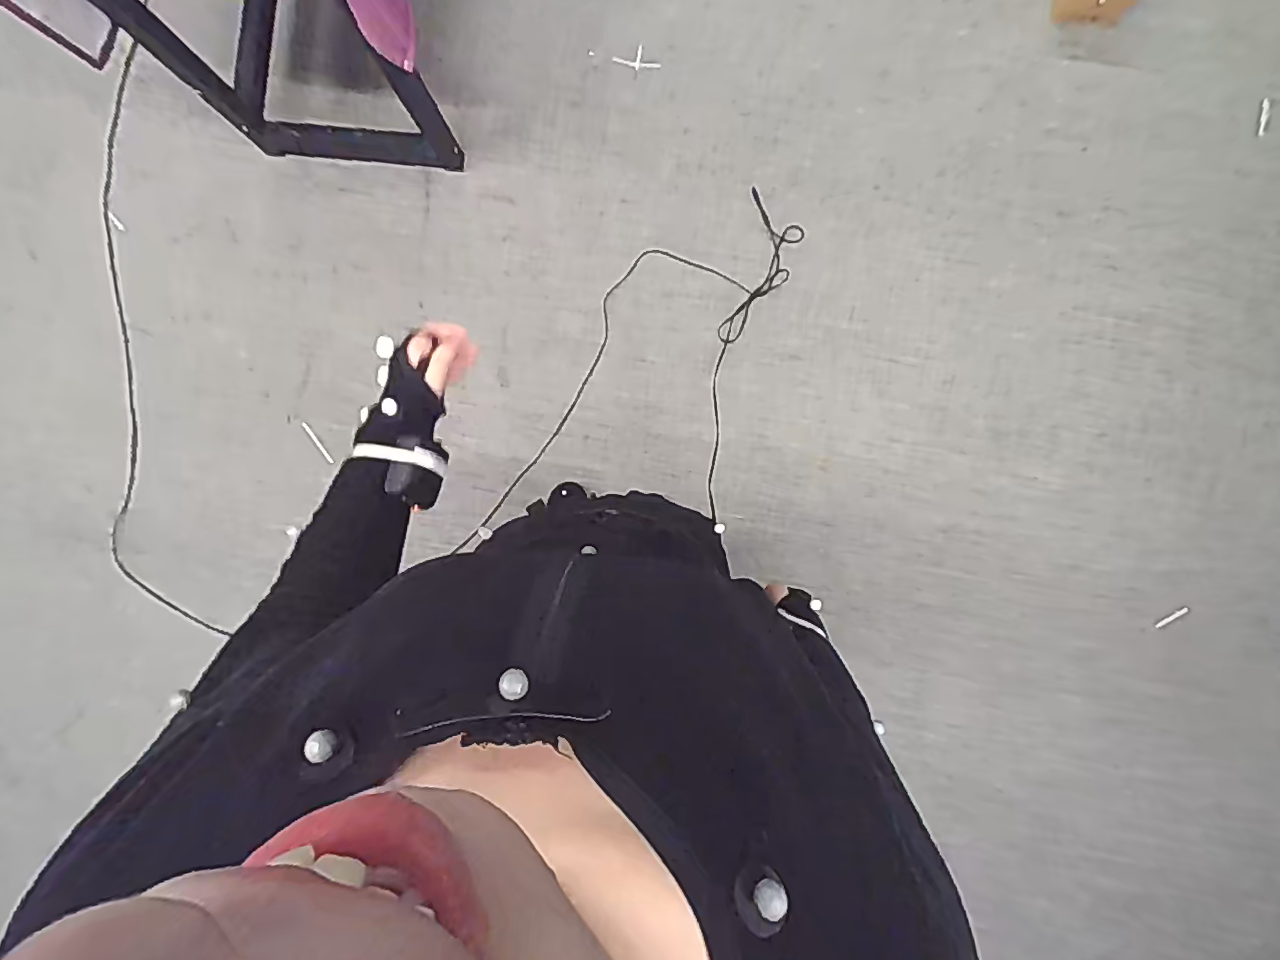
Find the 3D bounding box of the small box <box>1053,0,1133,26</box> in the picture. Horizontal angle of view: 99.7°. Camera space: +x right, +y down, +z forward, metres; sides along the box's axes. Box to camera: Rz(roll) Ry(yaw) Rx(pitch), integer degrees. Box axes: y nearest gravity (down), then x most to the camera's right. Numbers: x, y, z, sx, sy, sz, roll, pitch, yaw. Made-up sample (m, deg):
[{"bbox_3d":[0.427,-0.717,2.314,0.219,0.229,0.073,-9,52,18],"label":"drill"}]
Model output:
[{"bbox_3d":[1.237,-1.355,1.429,0.168,0.176,0.179,8,90,0],"label":"small box"}]
